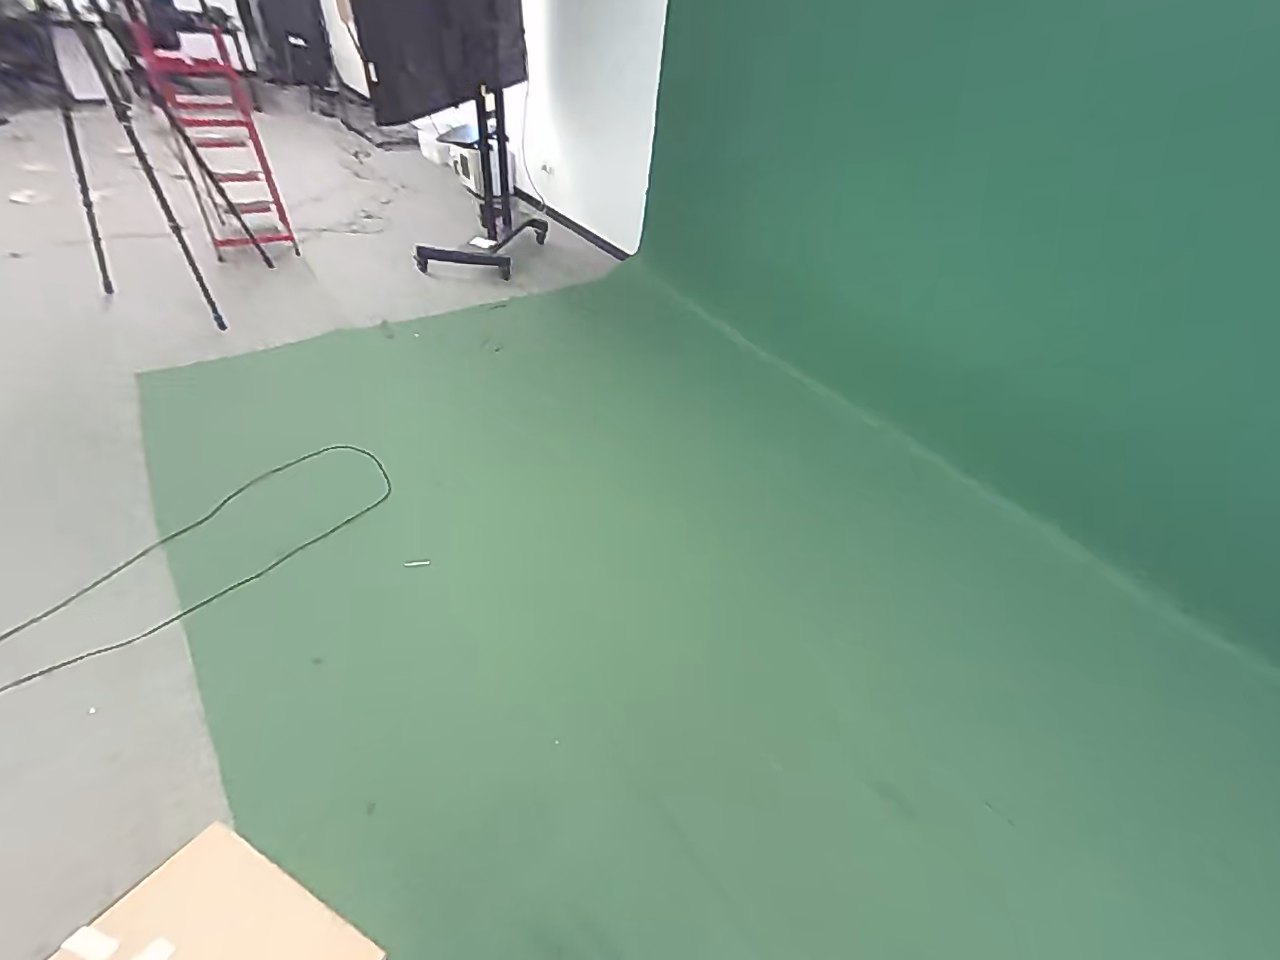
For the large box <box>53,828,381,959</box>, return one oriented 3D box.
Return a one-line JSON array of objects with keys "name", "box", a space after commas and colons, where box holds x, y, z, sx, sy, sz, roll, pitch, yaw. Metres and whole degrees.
[{"name": "large box", "box": [-0.560, 0.744, 0.668, 0.320, 0.408, 0.320, 24, 28, 14]}]
